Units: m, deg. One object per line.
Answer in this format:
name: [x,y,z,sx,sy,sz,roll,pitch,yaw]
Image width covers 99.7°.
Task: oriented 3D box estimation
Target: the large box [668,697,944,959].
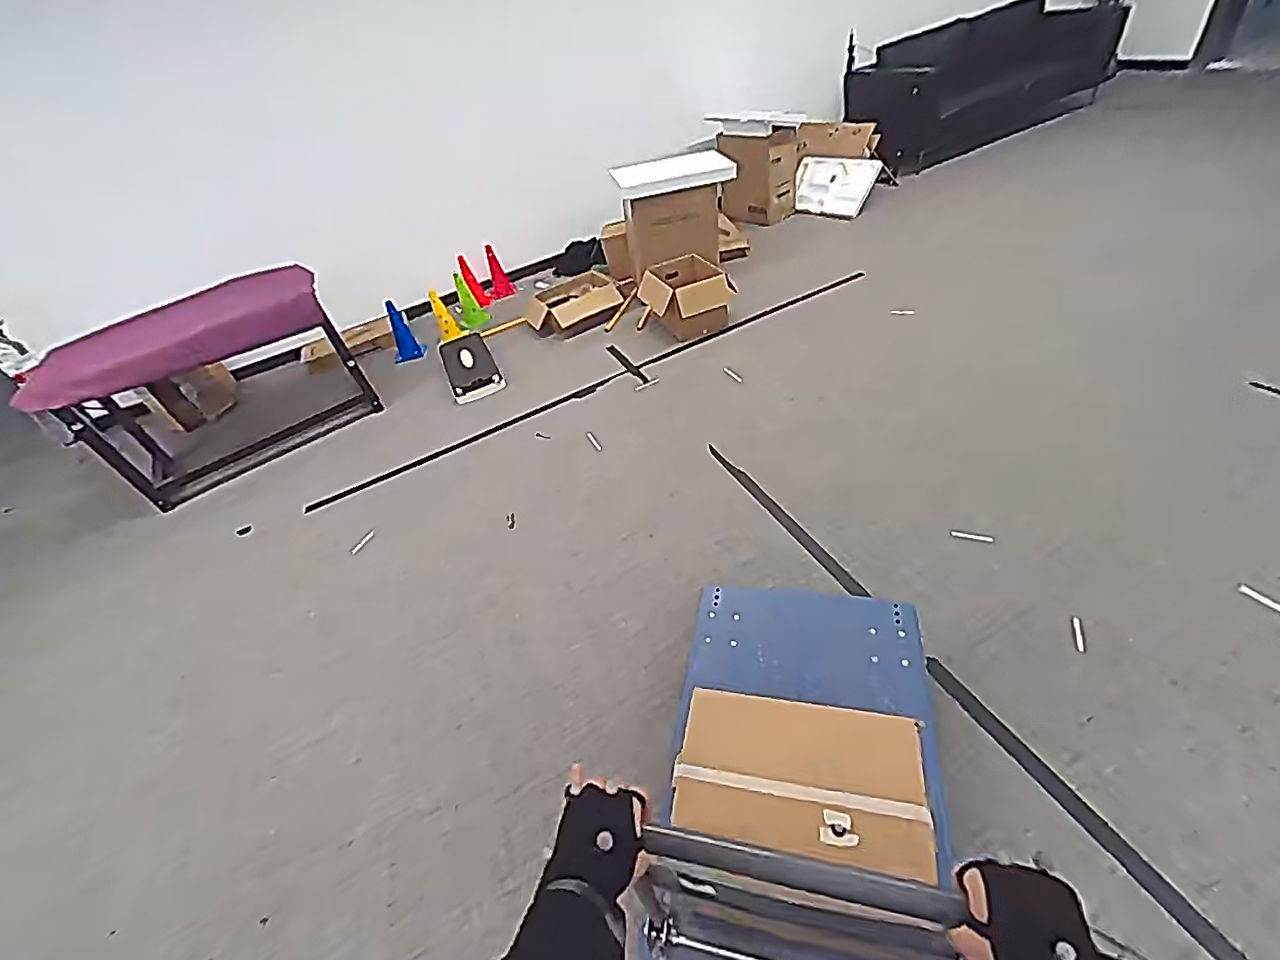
large box: [0.288,0.644,1.002,0.408,0.320,0.320,2,45,16]
